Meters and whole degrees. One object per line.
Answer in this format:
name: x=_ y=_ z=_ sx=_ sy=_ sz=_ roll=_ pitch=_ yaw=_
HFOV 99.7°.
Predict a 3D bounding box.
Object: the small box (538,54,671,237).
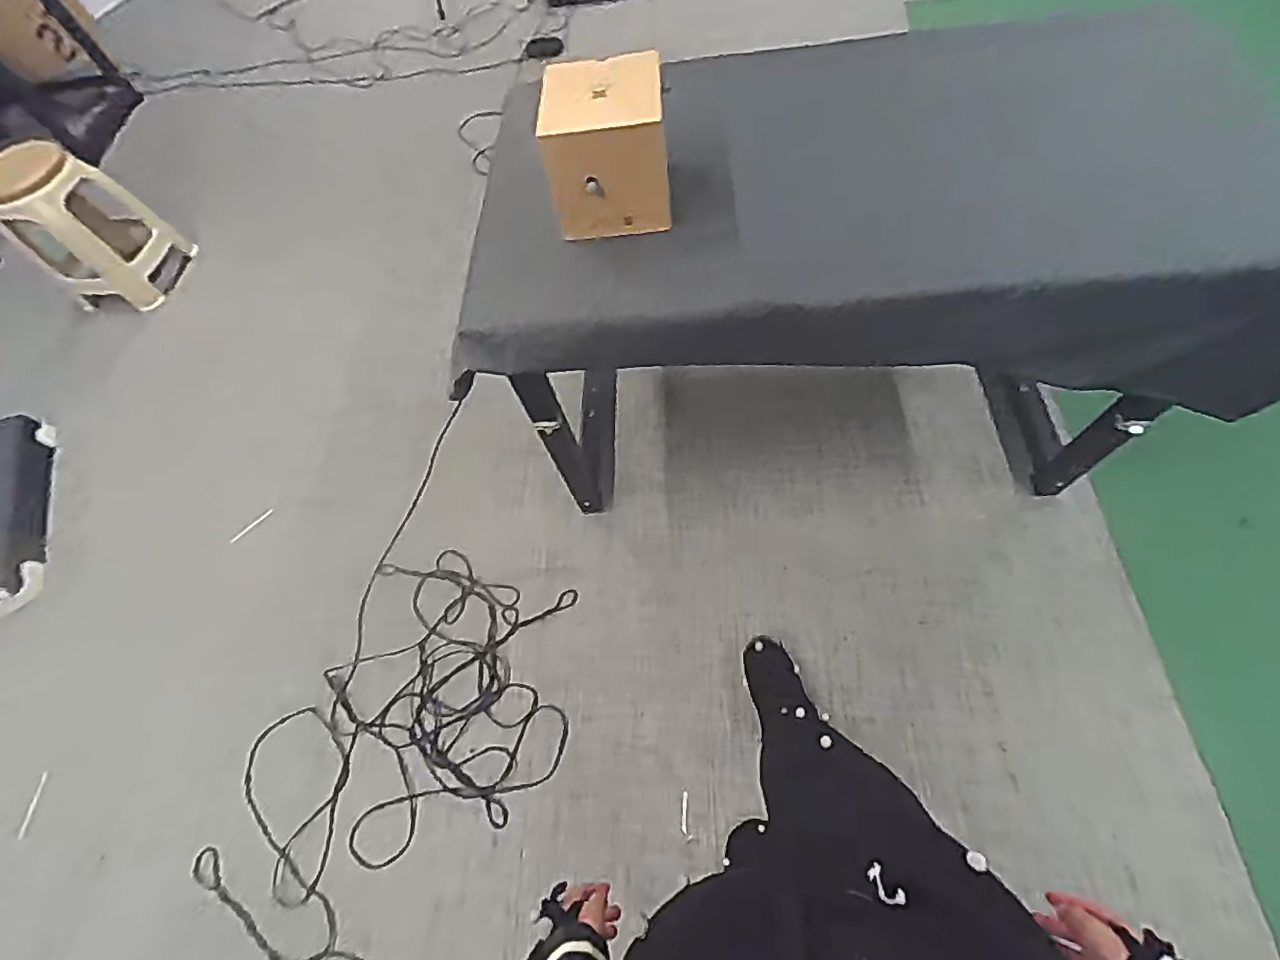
small box: x=-0.044 y=-0.485 z=0.805 sx=0.168 sy=0.176 sz=0.179 roll=-4 pitch=61 yaw=6
